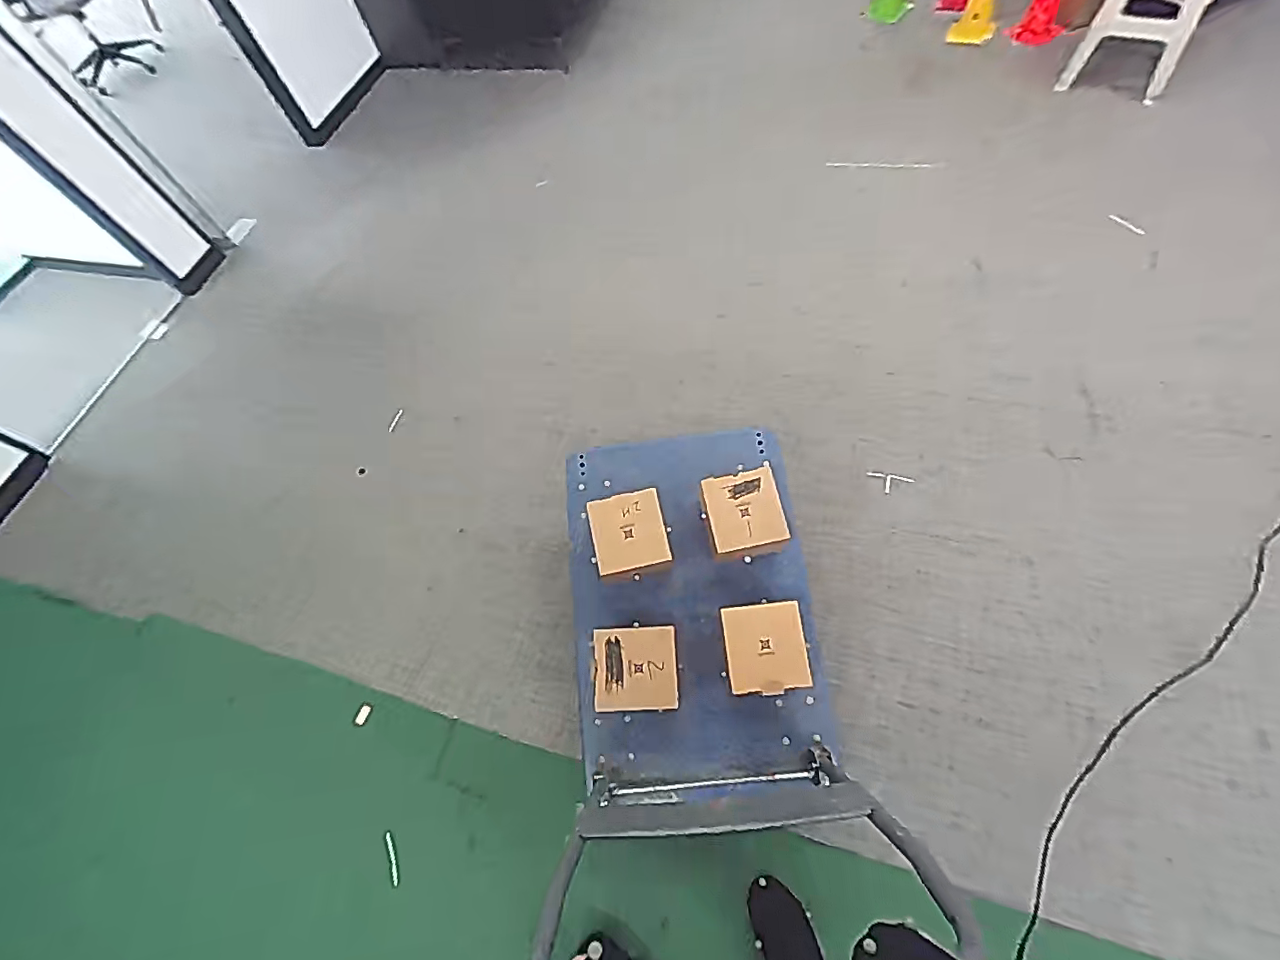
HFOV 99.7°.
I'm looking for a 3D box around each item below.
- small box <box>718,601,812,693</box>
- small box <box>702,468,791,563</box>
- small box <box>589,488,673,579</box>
[{"bbox_3d":[0.268,0.371,1.203,0.168,0.176,0.179,-6,72,3],"label":"small box"},{"bbox_3d":[0.246,0.090,1.293,0.168,0.176,0.179,-12,72,2],"label":"small box"},{"bbox_3d":[-0.017,0.137,1.300,0.168,0.176,0.179,-12,72,0],"label":"small box"}]
